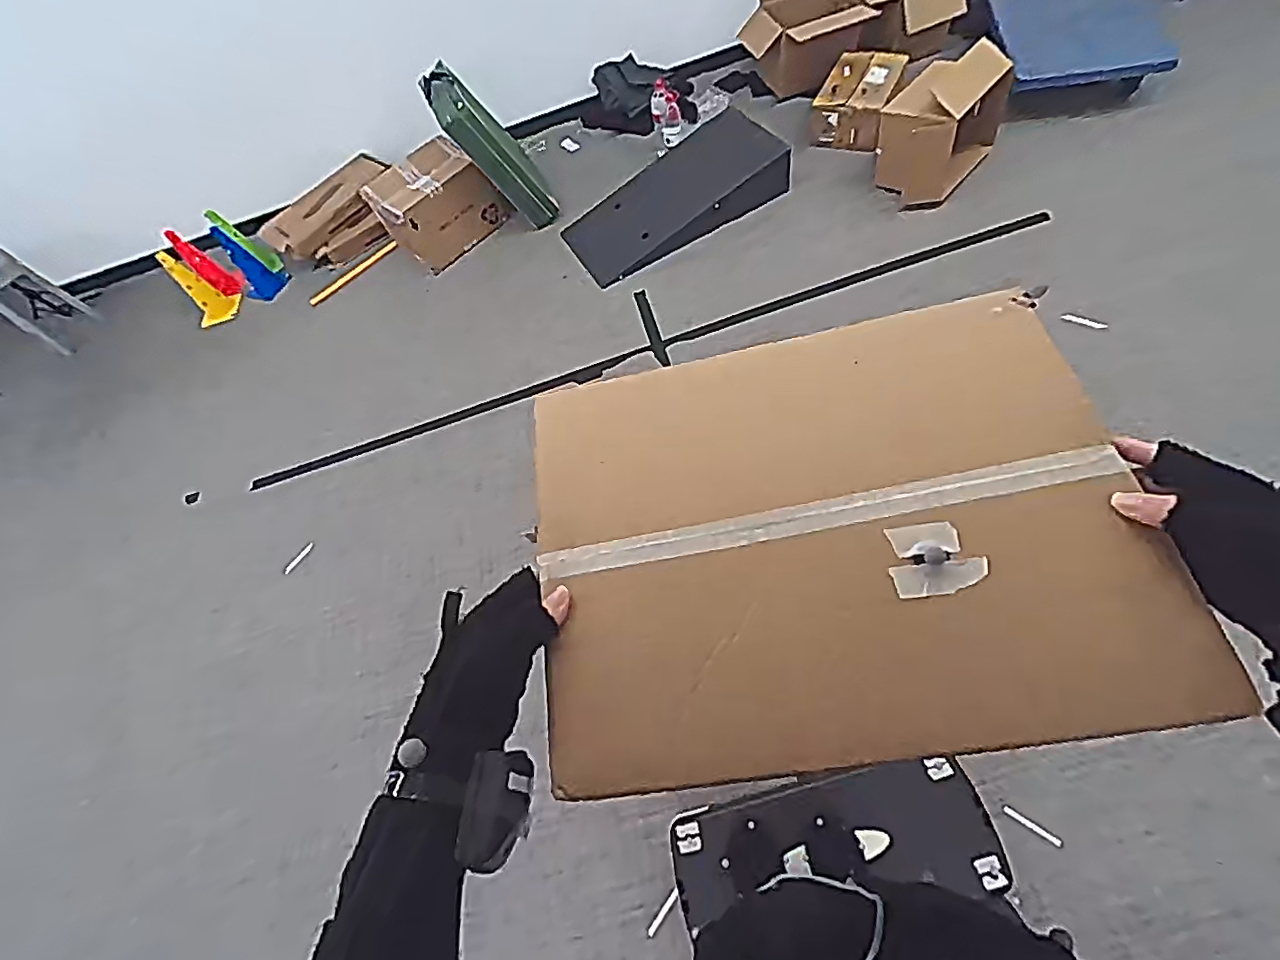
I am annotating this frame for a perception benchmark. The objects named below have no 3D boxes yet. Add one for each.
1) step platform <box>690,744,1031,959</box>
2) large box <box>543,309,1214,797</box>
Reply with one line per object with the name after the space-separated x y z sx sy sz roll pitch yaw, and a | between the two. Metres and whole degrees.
0.458 0.814 1.206 0.684 0.204 0.286 -19 59 1 | step platform
0.151 0.096 0.533 0.408 0.320 0.320 -12 64 7 | large box
